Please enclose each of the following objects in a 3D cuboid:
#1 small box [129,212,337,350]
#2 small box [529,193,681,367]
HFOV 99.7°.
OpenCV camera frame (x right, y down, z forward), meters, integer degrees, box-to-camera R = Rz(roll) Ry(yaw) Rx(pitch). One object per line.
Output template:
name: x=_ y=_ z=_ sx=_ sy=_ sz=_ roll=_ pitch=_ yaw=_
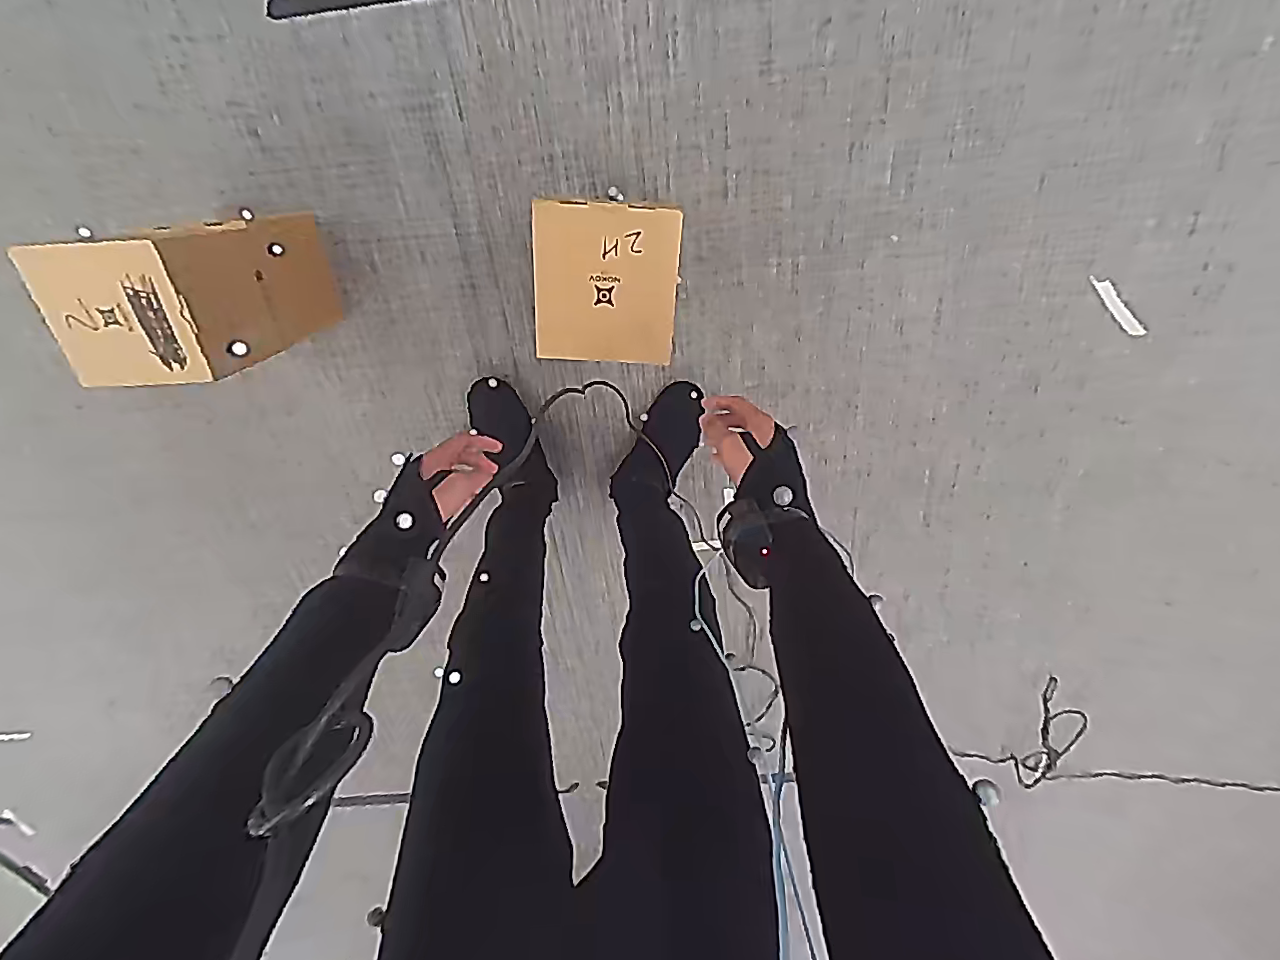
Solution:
small box: x=-0.611 y=-0.314 z=0.844 sx=0.168 sy=0.176 sz=0.179 roll=-3 pitch=118 yaw=2
small box: x=-0.044 y=-0.258 z=0.686 sx=0.168 sy=0.176 sz=0.179 roll=3 pitch=119 yaw=-3
